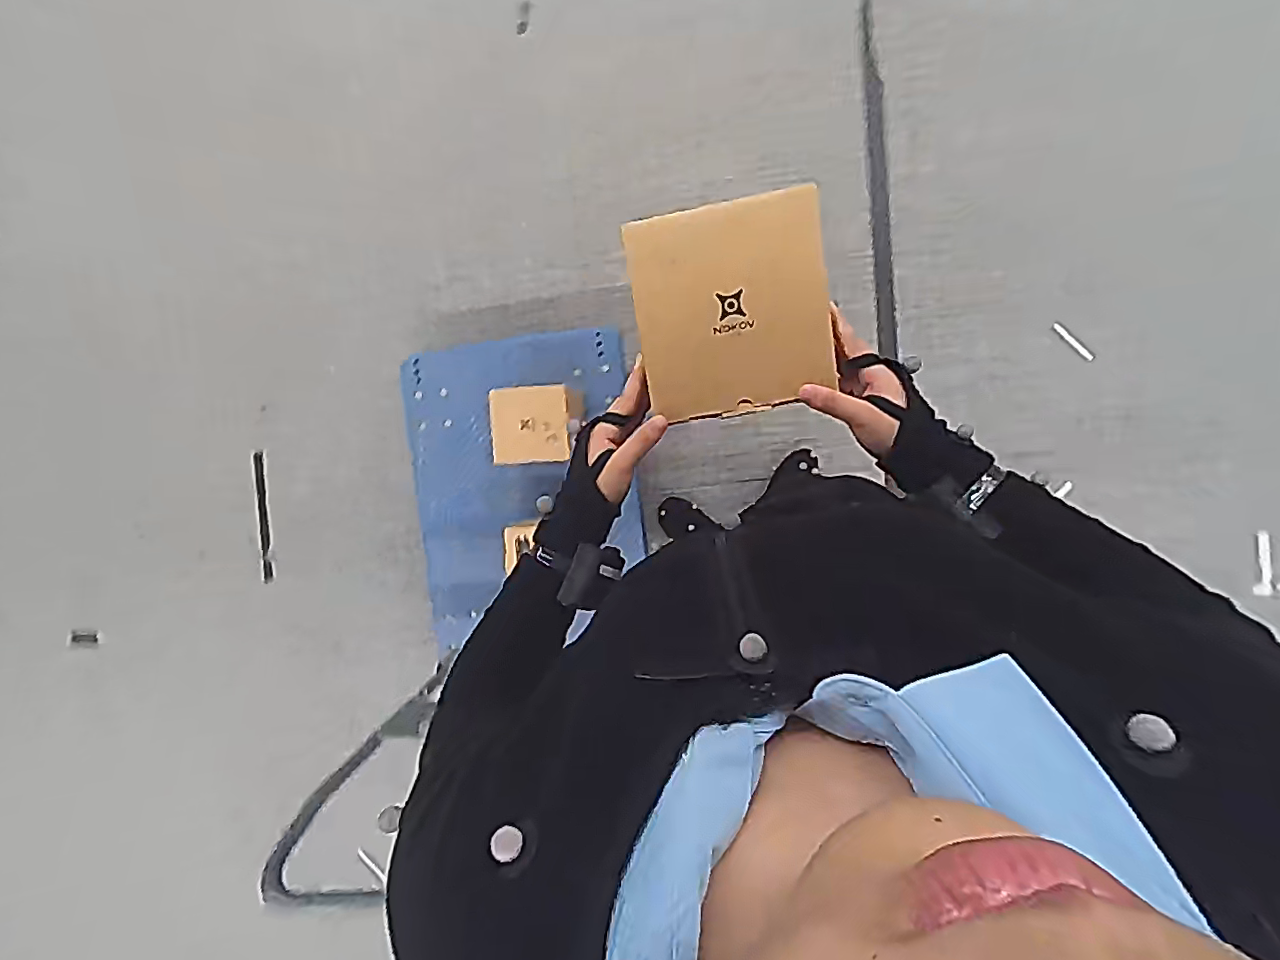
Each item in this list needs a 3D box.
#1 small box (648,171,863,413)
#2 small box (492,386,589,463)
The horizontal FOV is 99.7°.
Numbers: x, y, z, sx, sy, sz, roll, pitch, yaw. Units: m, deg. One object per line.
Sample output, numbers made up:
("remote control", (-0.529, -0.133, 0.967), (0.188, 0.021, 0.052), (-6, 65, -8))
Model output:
("small box", (0.102, -0.168, 0.533), (0.168, 0.176, 0.179), (-9, 101, 6))
("small box", (-0.225, -0.124, 1.259), (0.179, 0.176, 0.168), (-3, 94, 7))
